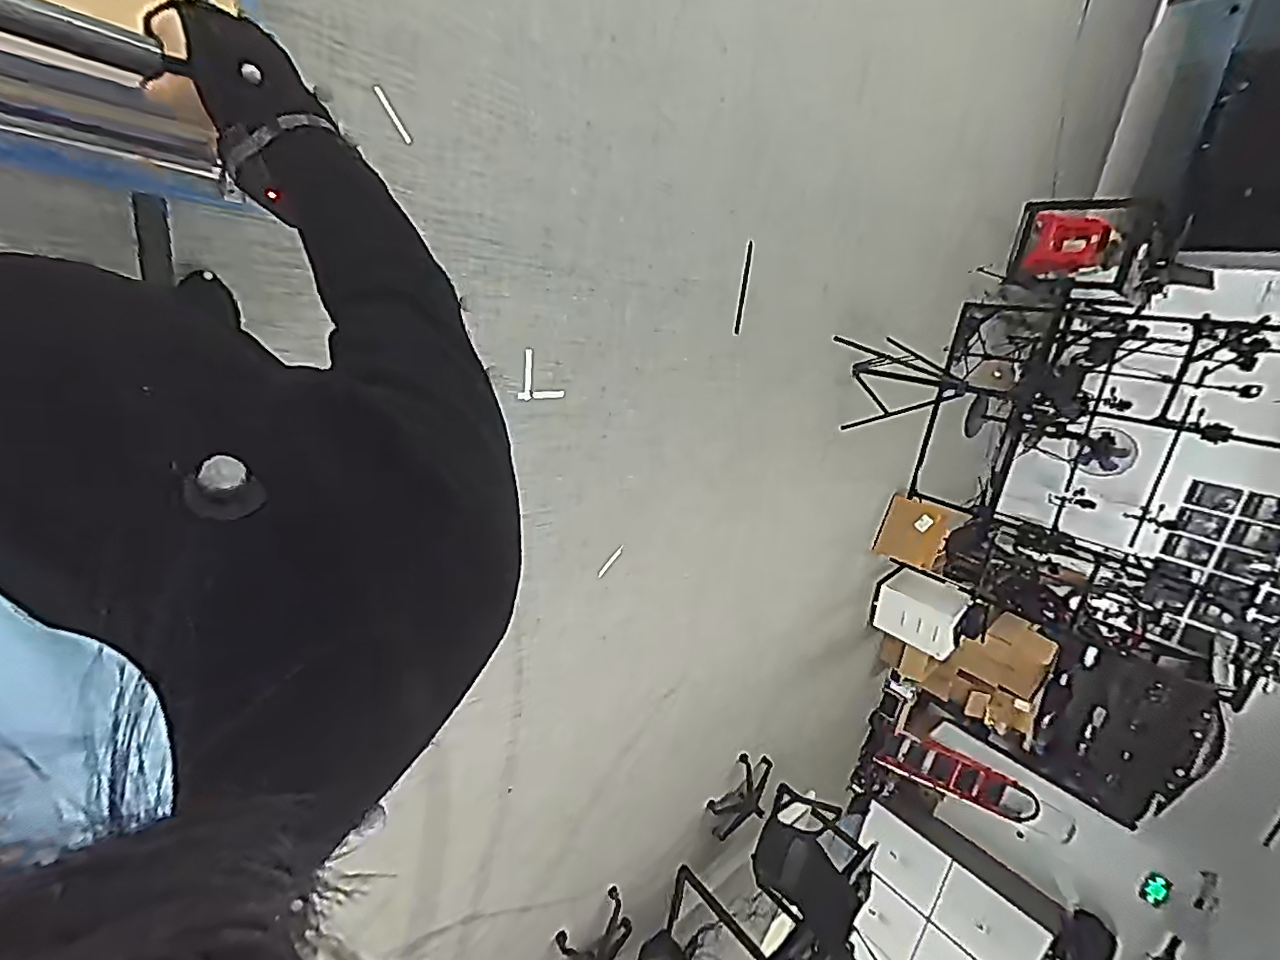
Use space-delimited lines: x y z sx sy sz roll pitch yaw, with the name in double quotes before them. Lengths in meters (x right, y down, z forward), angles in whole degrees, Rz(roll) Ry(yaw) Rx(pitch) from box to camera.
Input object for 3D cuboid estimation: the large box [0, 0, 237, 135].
"large box" -0.790 -0.679 0.674 0.408 0.320 0.320 -9 114 -43
